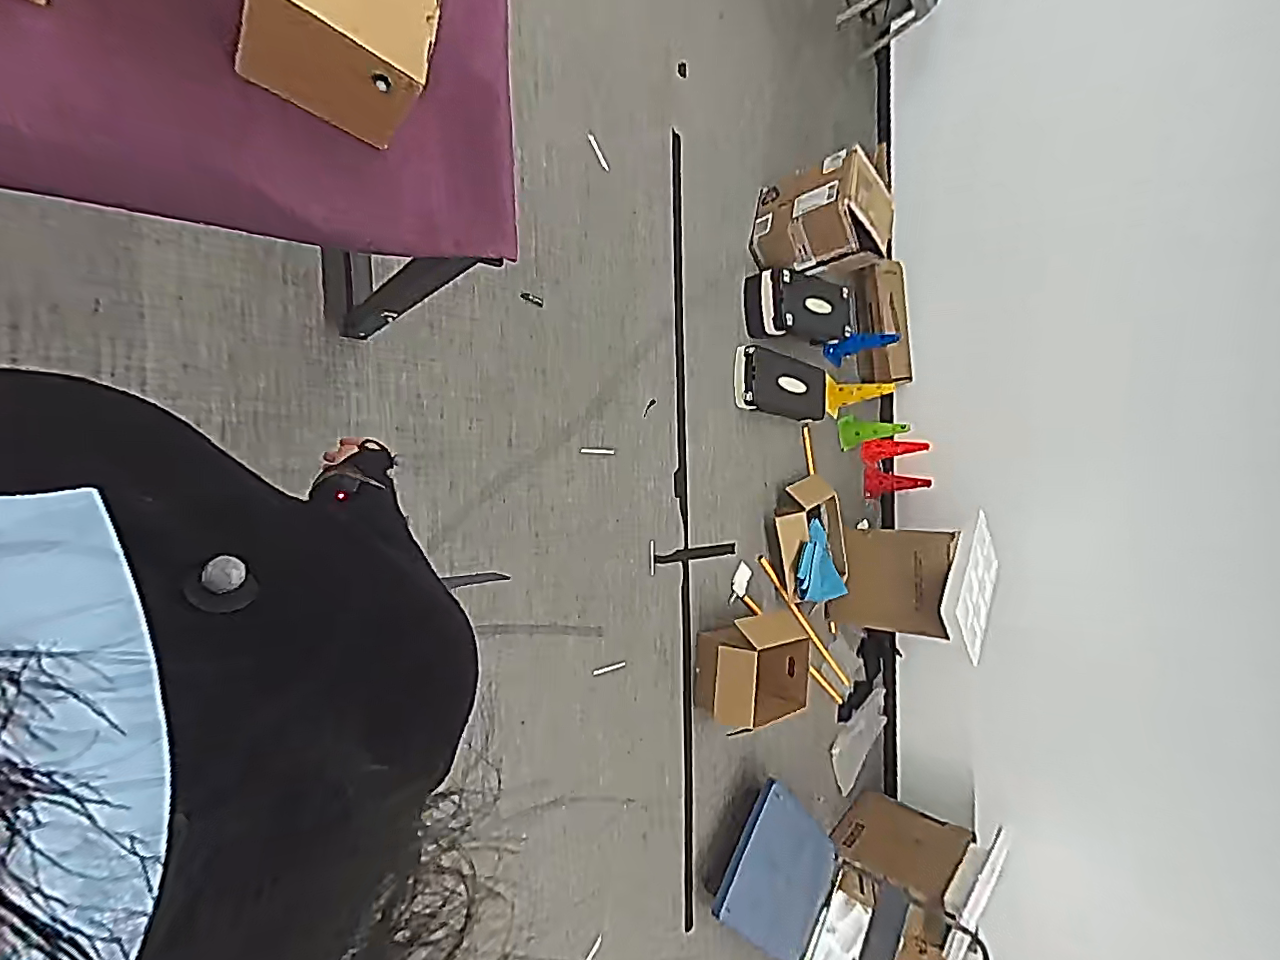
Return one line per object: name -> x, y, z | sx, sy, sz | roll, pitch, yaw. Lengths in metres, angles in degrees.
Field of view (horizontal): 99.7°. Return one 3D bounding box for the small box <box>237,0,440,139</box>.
small box -> -0.363, -0.560, 0.653 | 0.179, 0.176, 0.168 | 11, 82, -42
